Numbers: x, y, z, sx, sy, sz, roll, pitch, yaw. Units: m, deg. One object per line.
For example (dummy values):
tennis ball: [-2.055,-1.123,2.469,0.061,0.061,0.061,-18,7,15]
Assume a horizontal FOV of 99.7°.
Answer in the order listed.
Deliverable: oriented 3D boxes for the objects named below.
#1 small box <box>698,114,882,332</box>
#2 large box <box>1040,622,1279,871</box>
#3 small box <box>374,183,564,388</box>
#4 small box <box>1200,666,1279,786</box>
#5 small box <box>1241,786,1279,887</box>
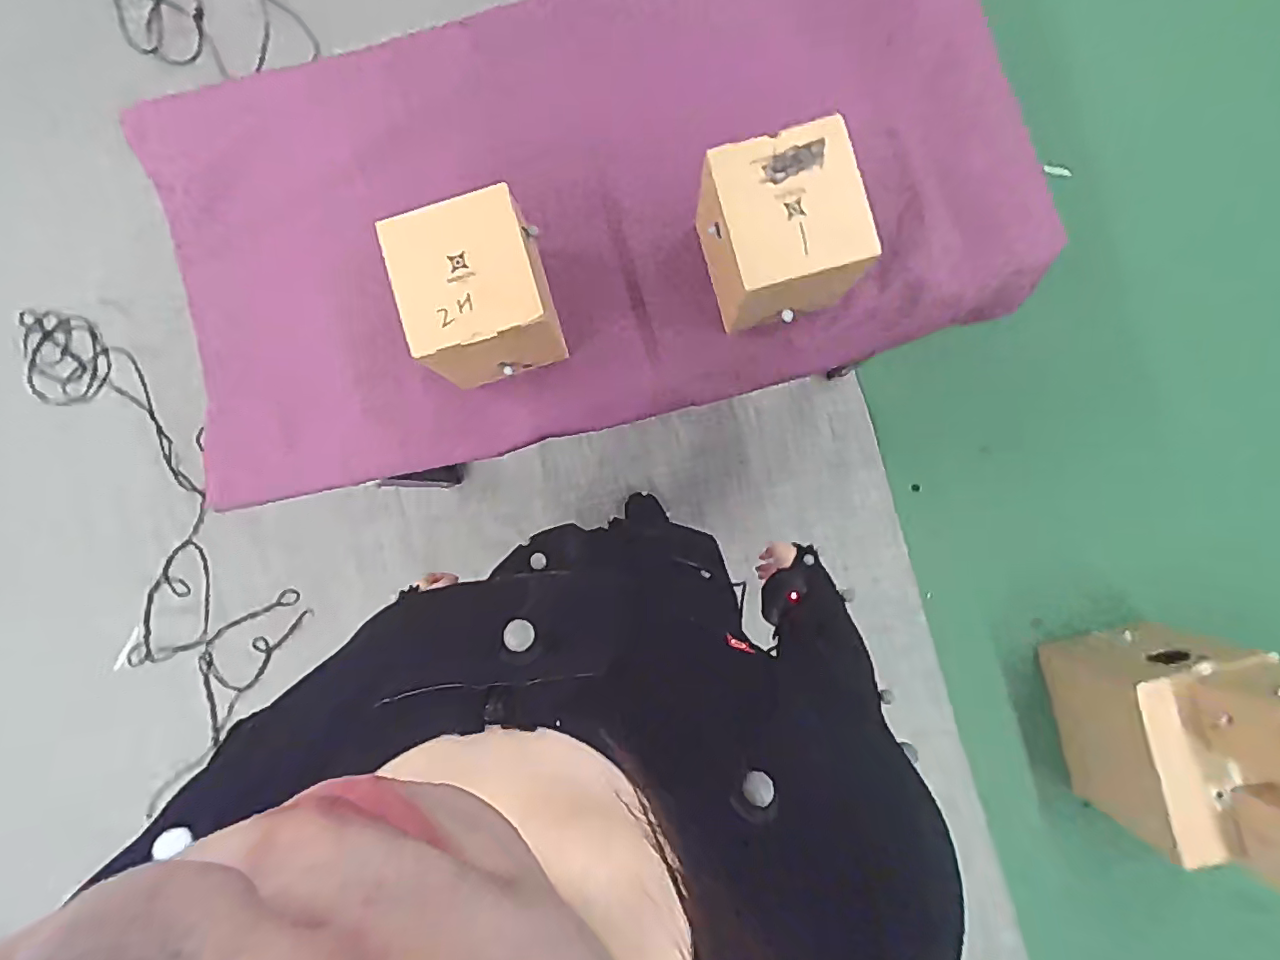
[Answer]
small box: [0.177,-0.315,0.698,0.168,0.176,0.179,-15,88,2]
large box: [1.258,0.603,1.293,0.320,0.320,0.408,-14,88,2]
small box: [-0.210,-0.239,0.707,0.168,0.176,0.179,-17,86,2]
small box: [1.274,0.480,1.054,0.179,0.176,0.168,-14,88,1]
small box: [1.339,0.721,1.041,0.168,0.176,0.179,-9,88,1]
